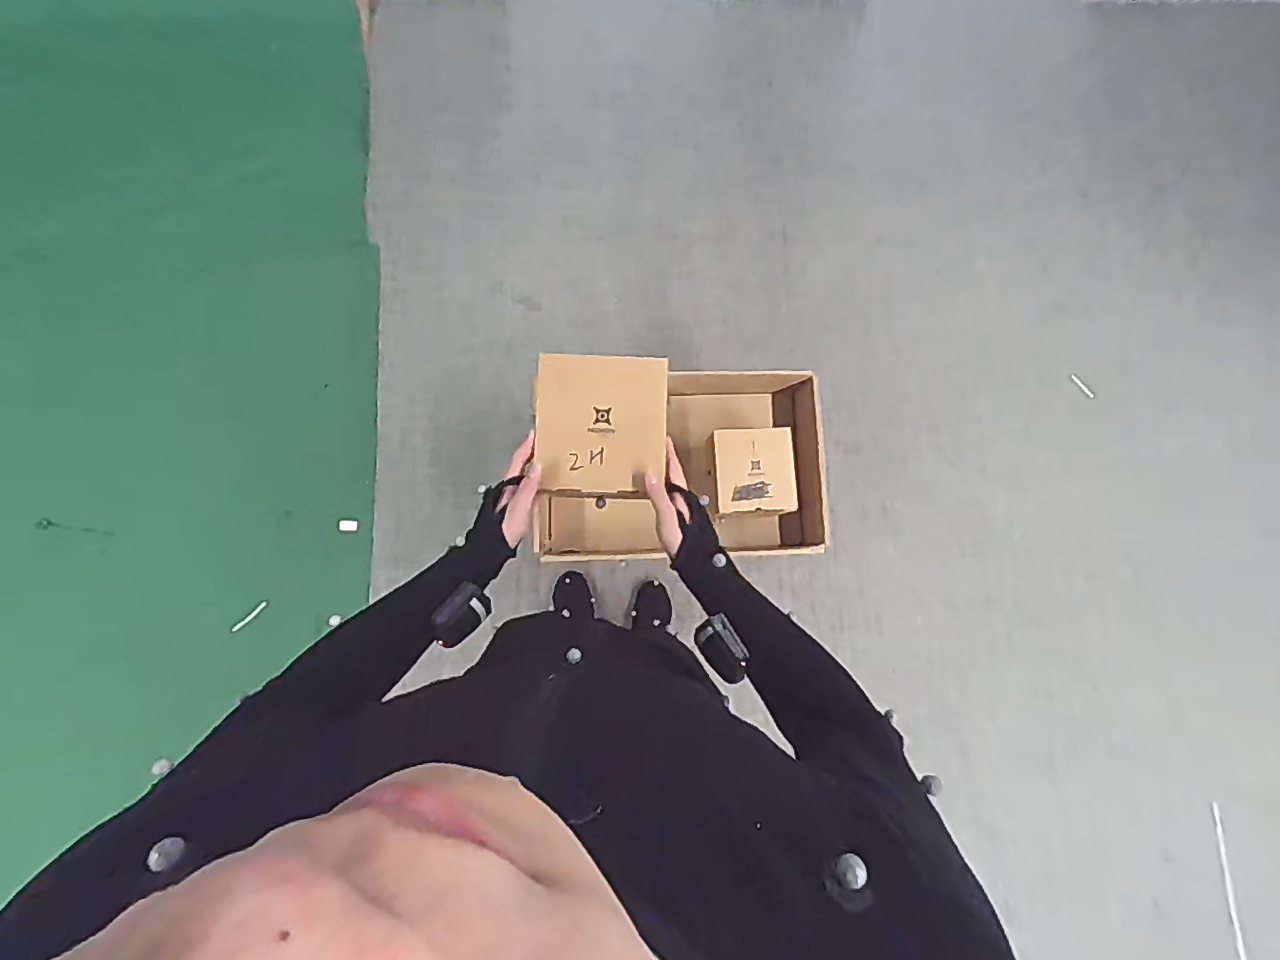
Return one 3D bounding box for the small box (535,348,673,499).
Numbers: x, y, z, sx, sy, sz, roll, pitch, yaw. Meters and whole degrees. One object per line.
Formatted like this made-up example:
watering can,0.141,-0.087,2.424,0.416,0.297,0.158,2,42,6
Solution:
small box,-0.048,-0.069,0.751,0.168,0.176,0.179,2,86,-3
